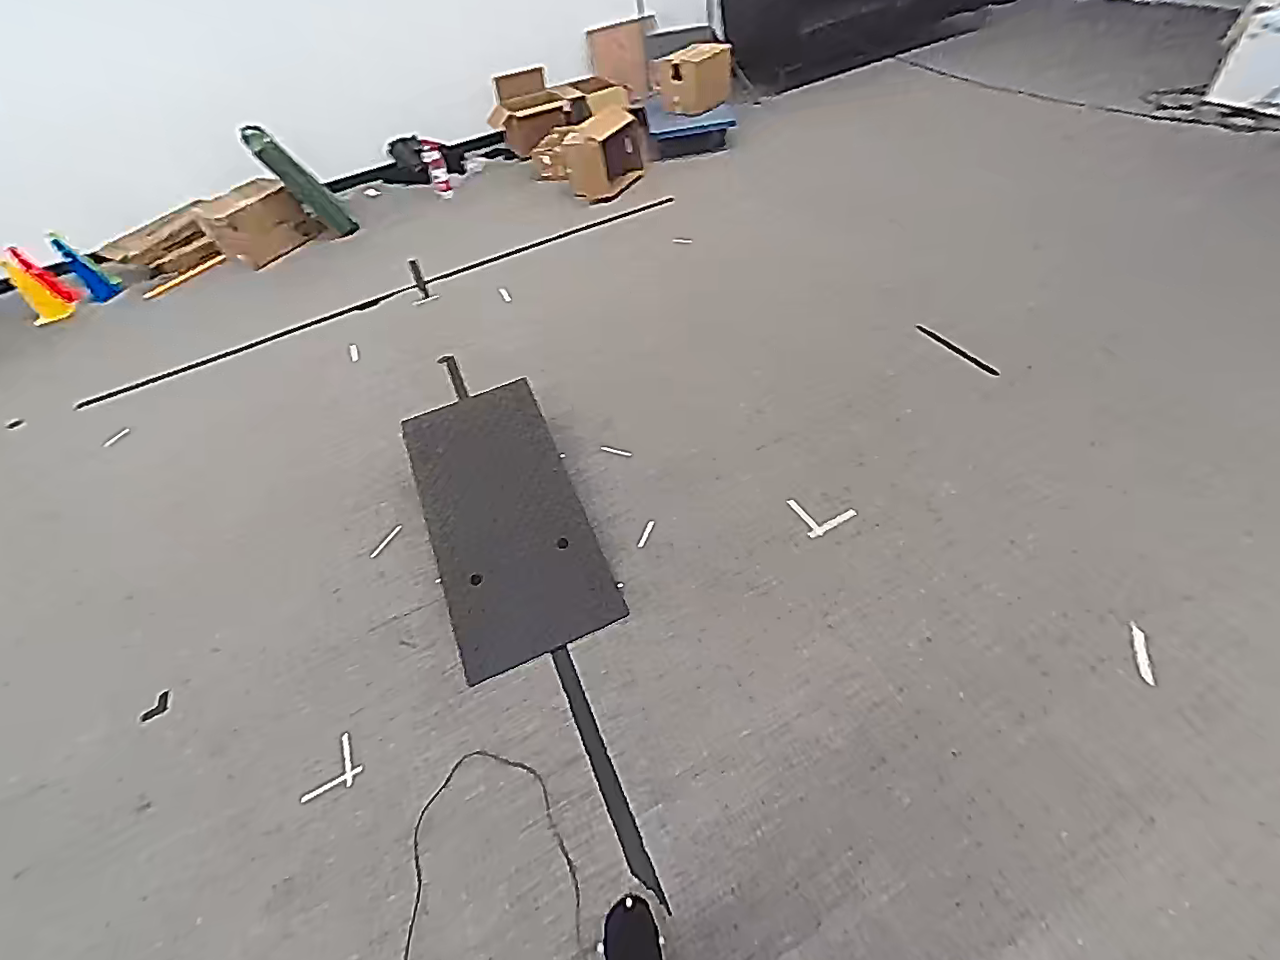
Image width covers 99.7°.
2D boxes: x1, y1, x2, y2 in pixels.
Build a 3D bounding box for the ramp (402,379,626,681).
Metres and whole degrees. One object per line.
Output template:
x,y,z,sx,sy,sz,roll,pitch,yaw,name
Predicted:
-0.451,0.091,1.784,0.509,0.206,0.991,-23,51,-11,ramp
